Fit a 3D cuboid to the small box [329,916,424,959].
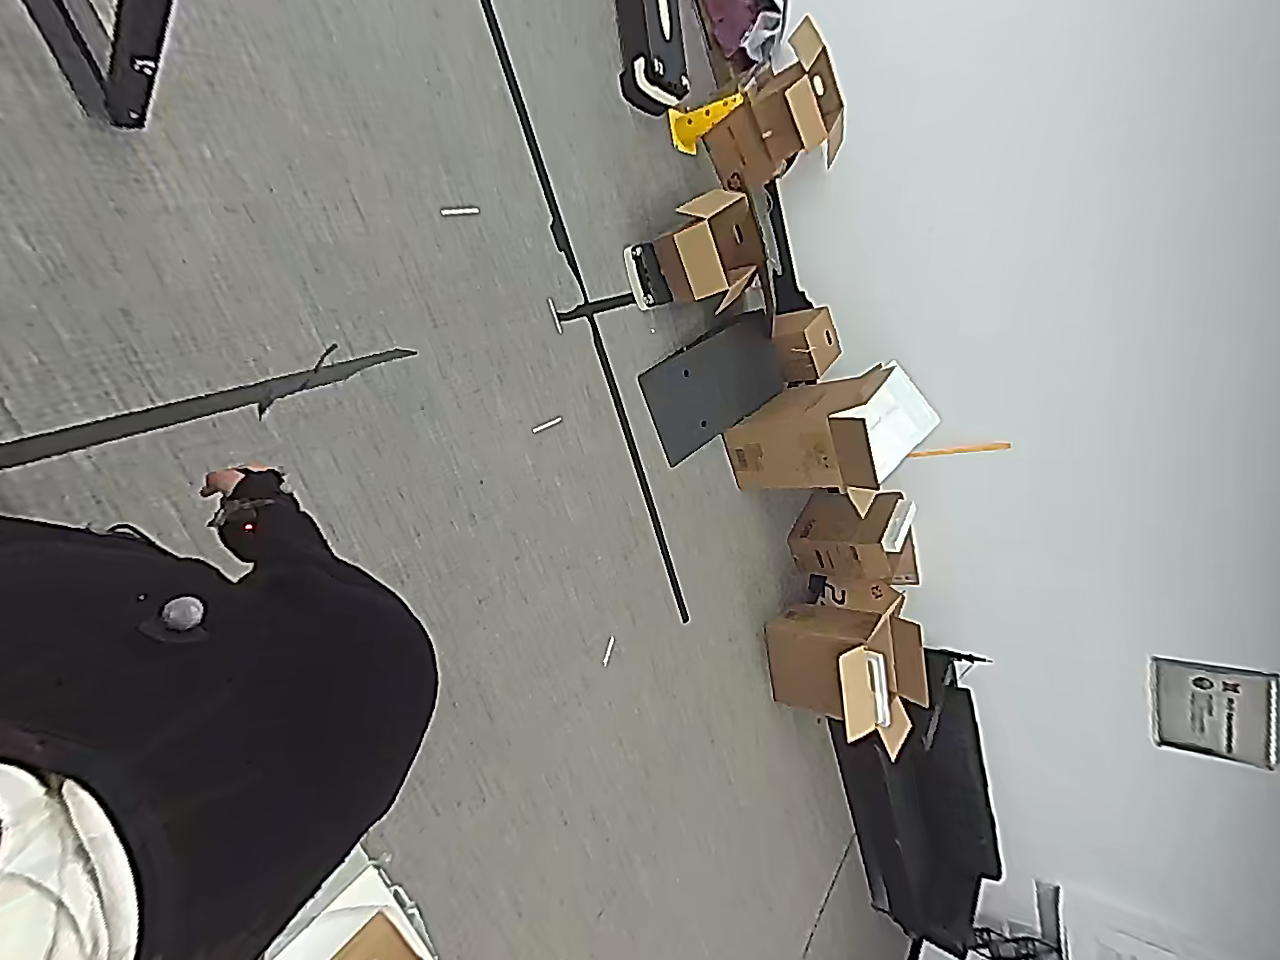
[{"bbox_3d":[-0.475,0.939,0.971,0.168,0.176,0.179,-34,114,-43],"label":"small box"}]
